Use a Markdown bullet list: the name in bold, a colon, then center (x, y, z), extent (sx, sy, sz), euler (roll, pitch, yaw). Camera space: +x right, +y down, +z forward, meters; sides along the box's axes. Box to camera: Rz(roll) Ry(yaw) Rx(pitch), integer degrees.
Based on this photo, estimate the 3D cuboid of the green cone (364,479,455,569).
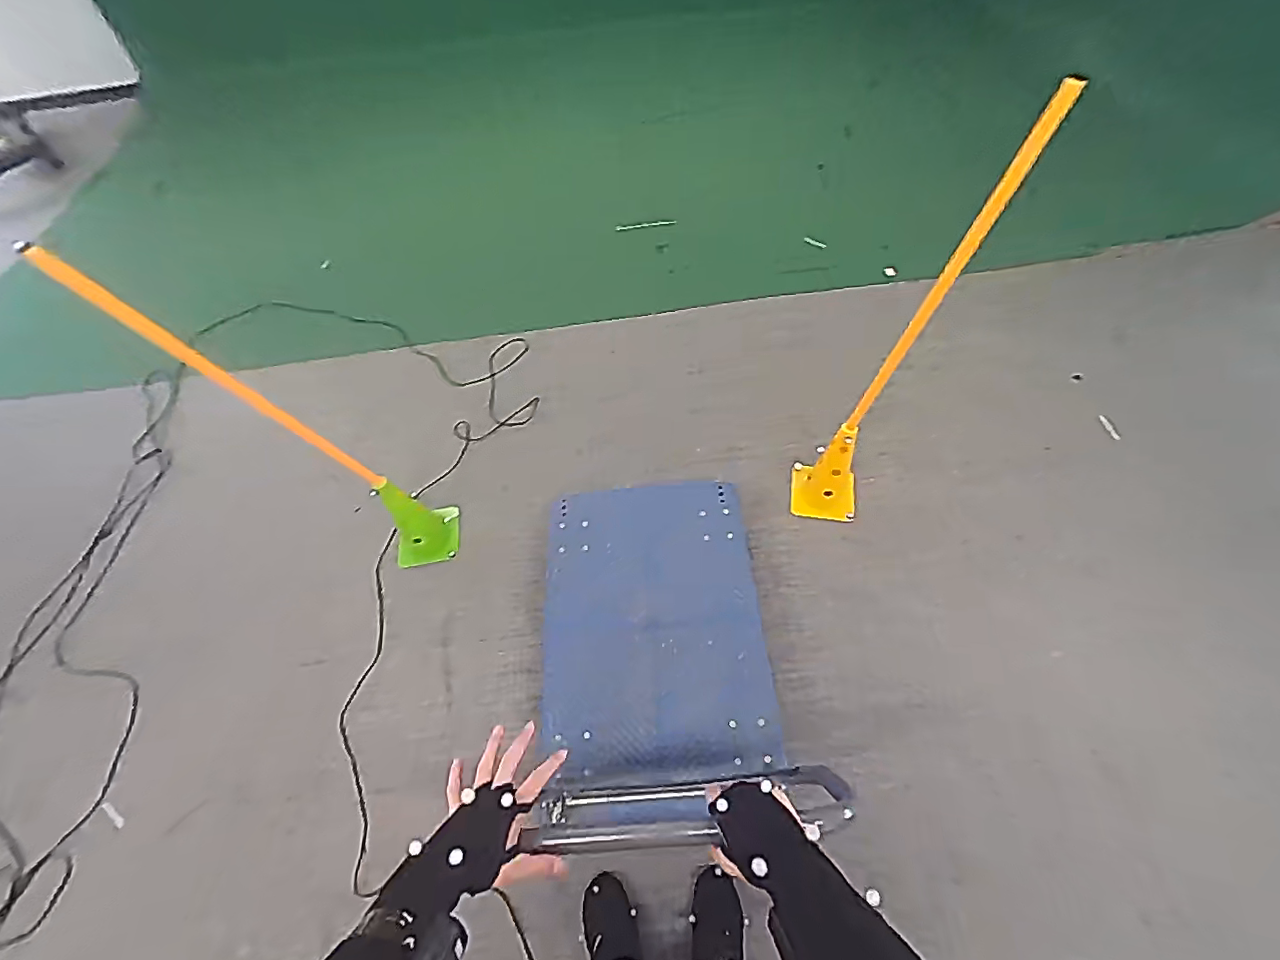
- **green cone**: center (-0.738, 0.103, 1.676), extent (0.202, 0.368, 0.200), euler (-12, 57, -1)
